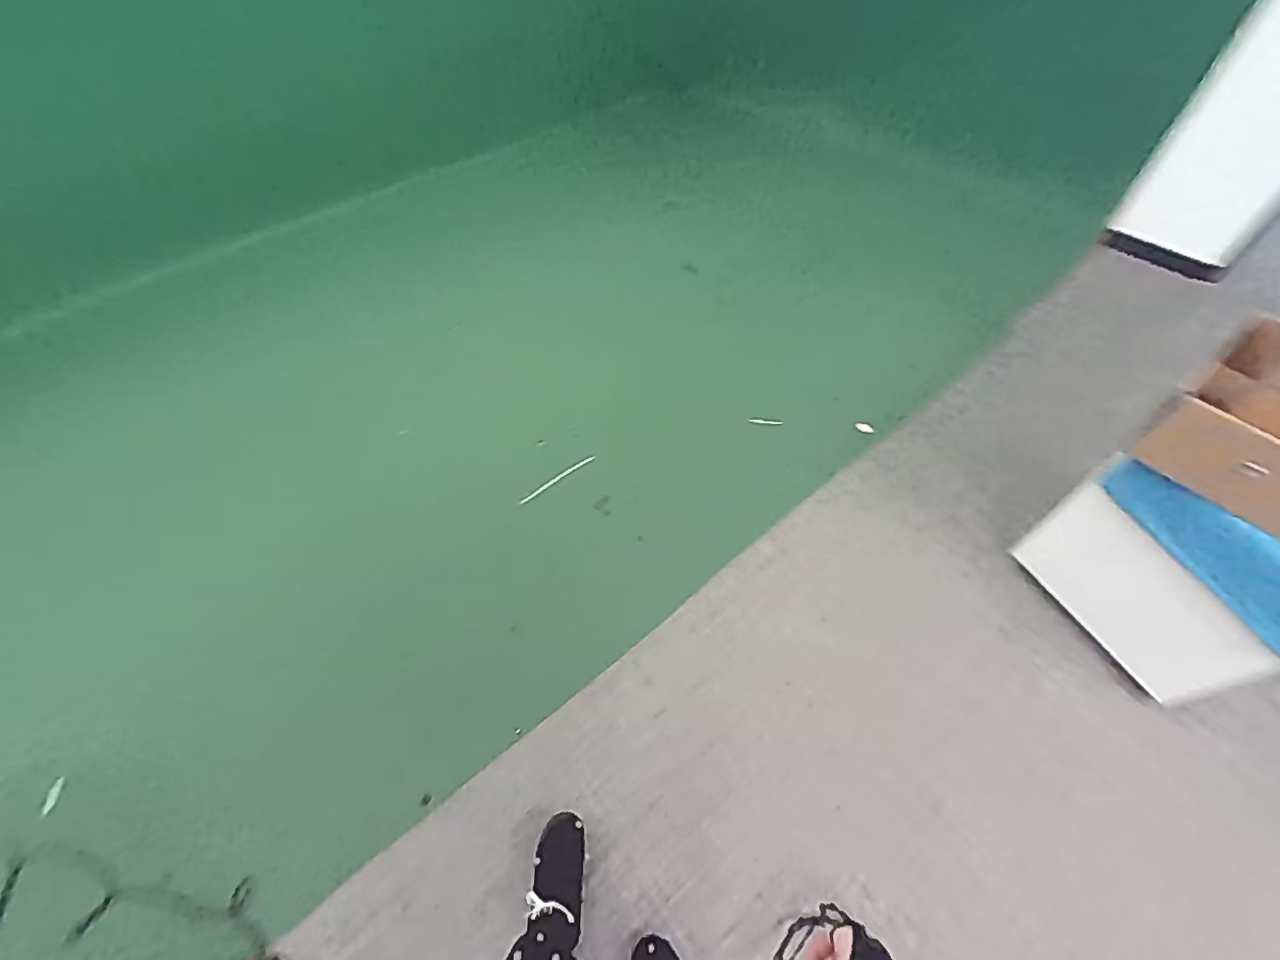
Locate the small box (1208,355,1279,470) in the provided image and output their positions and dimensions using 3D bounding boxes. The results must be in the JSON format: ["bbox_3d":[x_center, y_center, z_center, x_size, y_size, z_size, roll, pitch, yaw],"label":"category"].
[{"bbox_3d":[1.316,-0.142,1.078,0.168,0.176,0.179,-35,62,-21],"label":"small box"}]
